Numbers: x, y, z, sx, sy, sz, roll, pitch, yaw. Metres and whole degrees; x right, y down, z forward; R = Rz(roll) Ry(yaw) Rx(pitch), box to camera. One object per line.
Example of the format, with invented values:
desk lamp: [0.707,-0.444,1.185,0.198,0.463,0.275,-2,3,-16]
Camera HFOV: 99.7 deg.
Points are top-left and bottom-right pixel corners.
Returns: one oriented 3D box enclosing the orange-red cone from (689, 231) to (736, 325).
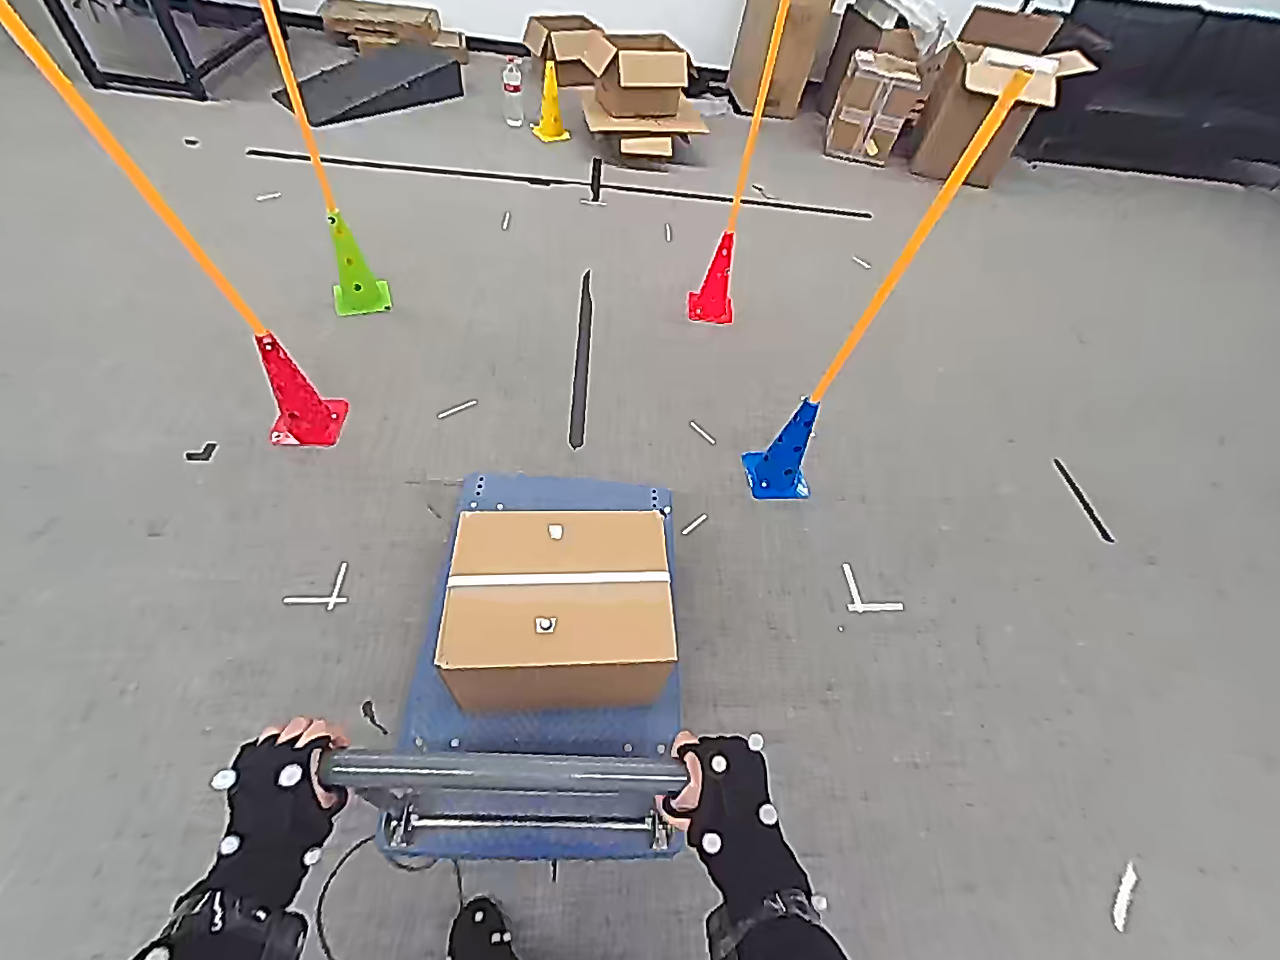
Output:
orange-red cone: [0.337,-0.860,2.252,0.199,0.360,0.198,9,53,-3]

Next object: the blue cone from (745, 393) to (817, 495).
blue cone: [0.487,-0.124,1.737,0.193,0.380,0.192,0,52,-9]
